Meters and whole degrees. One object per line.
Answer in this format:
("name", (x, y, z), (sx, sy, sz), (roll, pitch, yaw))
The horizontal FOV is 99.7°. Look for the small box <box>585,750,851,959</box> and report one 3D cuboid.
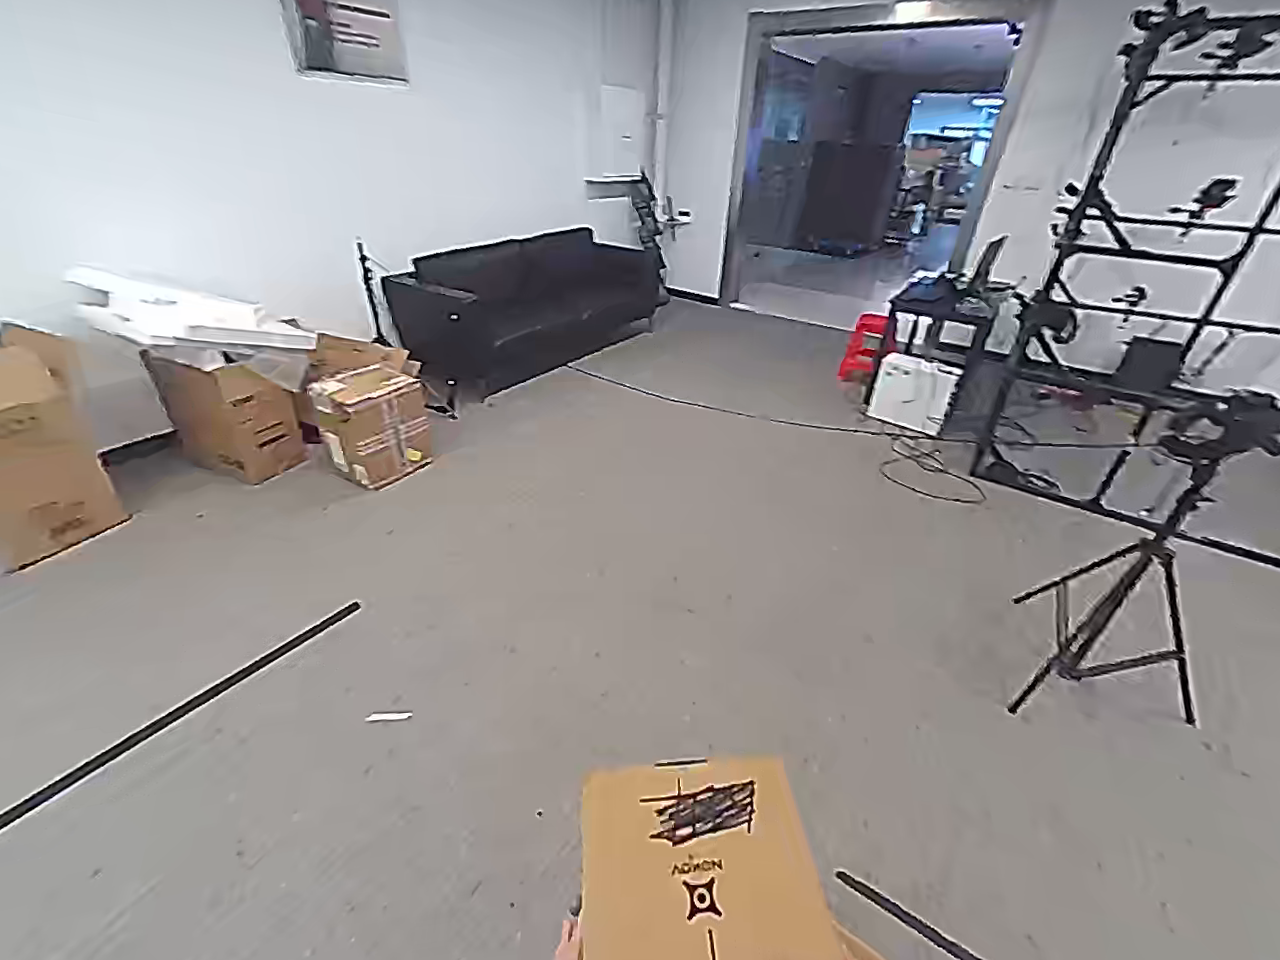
("small box", (0.043, 0.340, 0.411), (0.168, 0.176, 0.179), (-3, 32, -5))
